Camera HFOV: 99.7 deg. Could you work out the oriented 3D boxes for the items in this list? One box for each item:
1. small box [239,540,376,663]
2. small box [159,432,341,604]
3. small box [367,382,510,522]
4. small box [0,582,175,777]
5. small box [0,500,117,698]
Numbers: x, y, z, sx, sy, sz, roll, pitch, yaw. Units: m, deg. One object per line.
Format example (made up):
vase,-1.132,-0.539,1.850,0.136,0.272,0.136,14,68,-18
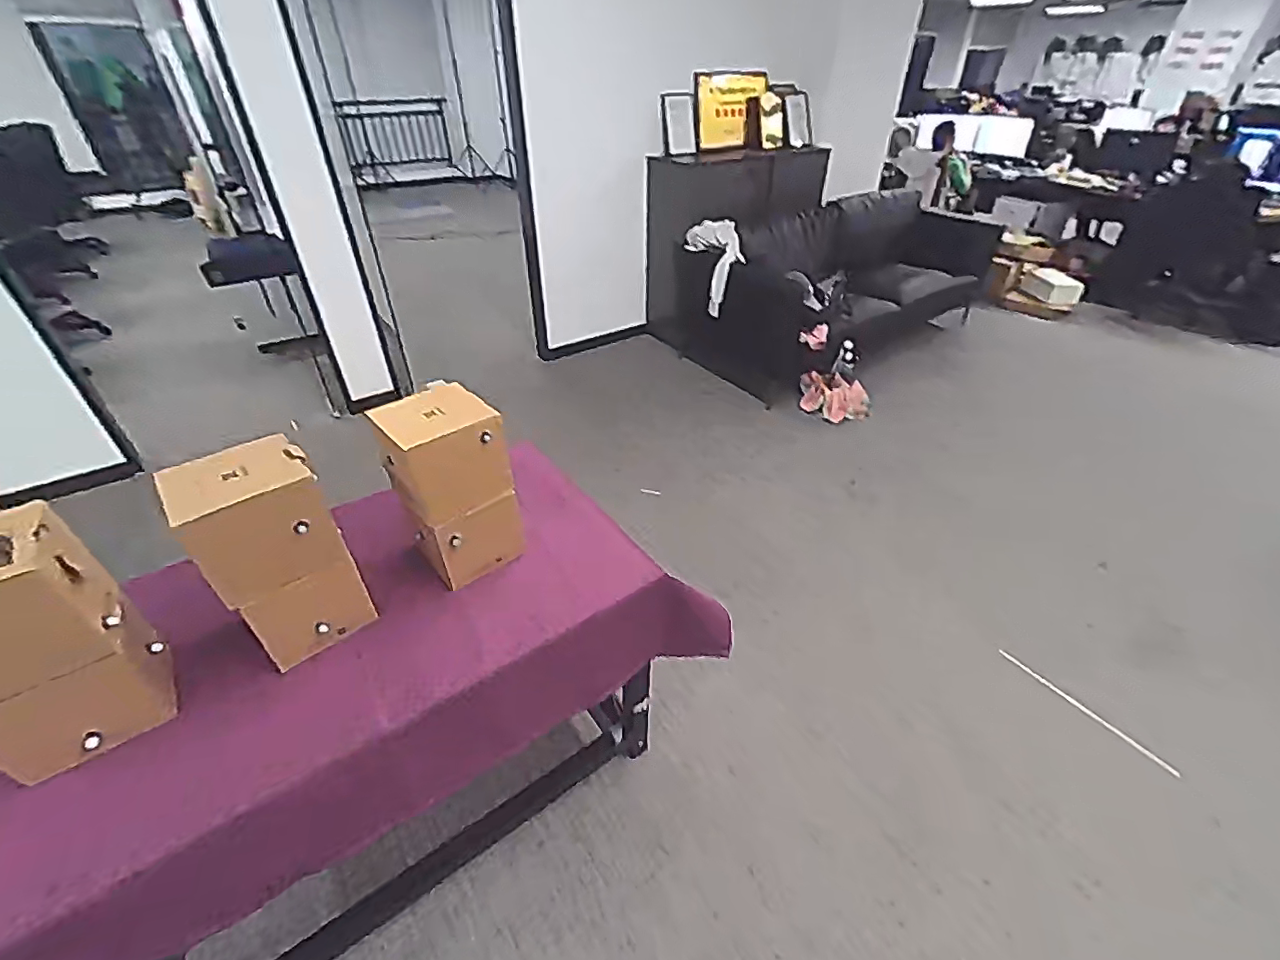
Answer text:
small box,-0.597,0.182,0.950,0.168,0.176,0.179,-30,48,-33
small box,-0.596,0.055,0.847,0.179,0.176,0.168,-29,46,-31
small box,-0.359,-0.052,0.987,0.179,0.176,0.168,-29,46,-33
small box,-0.833,0.292,0.804,0.179,0.176,0.168,-25,44,-29
small box,-0.831,0.162,0.703,0.179,0.176,0.168,-26,45,-29
